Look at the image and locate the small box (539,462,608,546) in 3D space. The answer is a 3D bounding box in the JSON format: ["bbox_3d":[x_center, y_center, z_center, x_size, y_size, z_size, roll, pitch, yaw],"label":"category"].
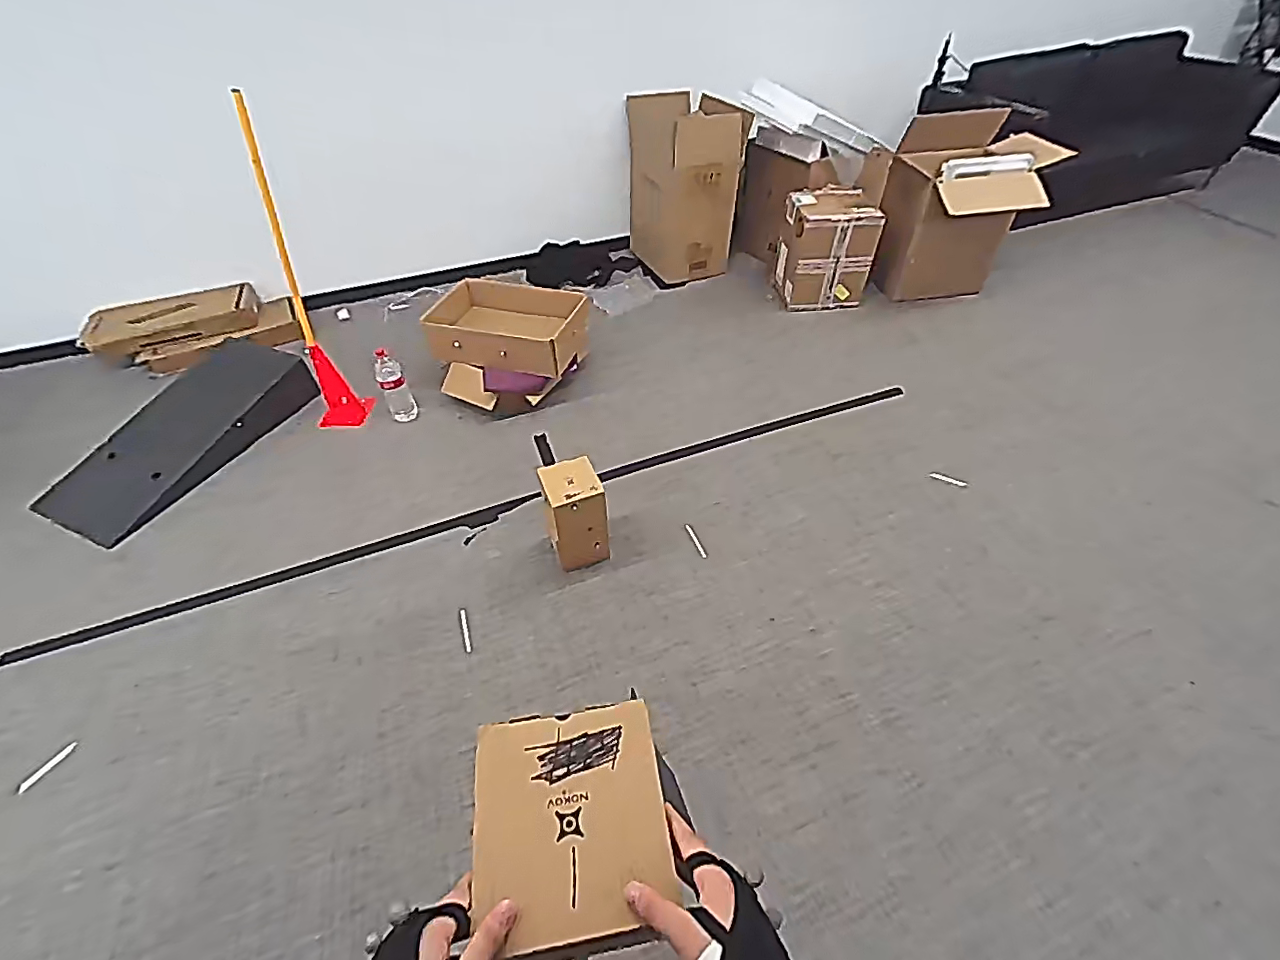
[{"bbox_3d":[-0.209,0.075,1.699,0.168,0.176,0.179,-18,46,-15],"label":"small box"}]

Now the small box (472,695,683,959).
[{"bbox_3d":[-0.061,0.340,0.528,0.168,0.176,0.179,-7,47,-7],"label":"small box"}]

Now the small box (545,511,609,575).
[{"bbox_3d":[-0.207,0.190,1.817,0.179,0.176,0.168,-17,47,-13],"label":"small box"}]
